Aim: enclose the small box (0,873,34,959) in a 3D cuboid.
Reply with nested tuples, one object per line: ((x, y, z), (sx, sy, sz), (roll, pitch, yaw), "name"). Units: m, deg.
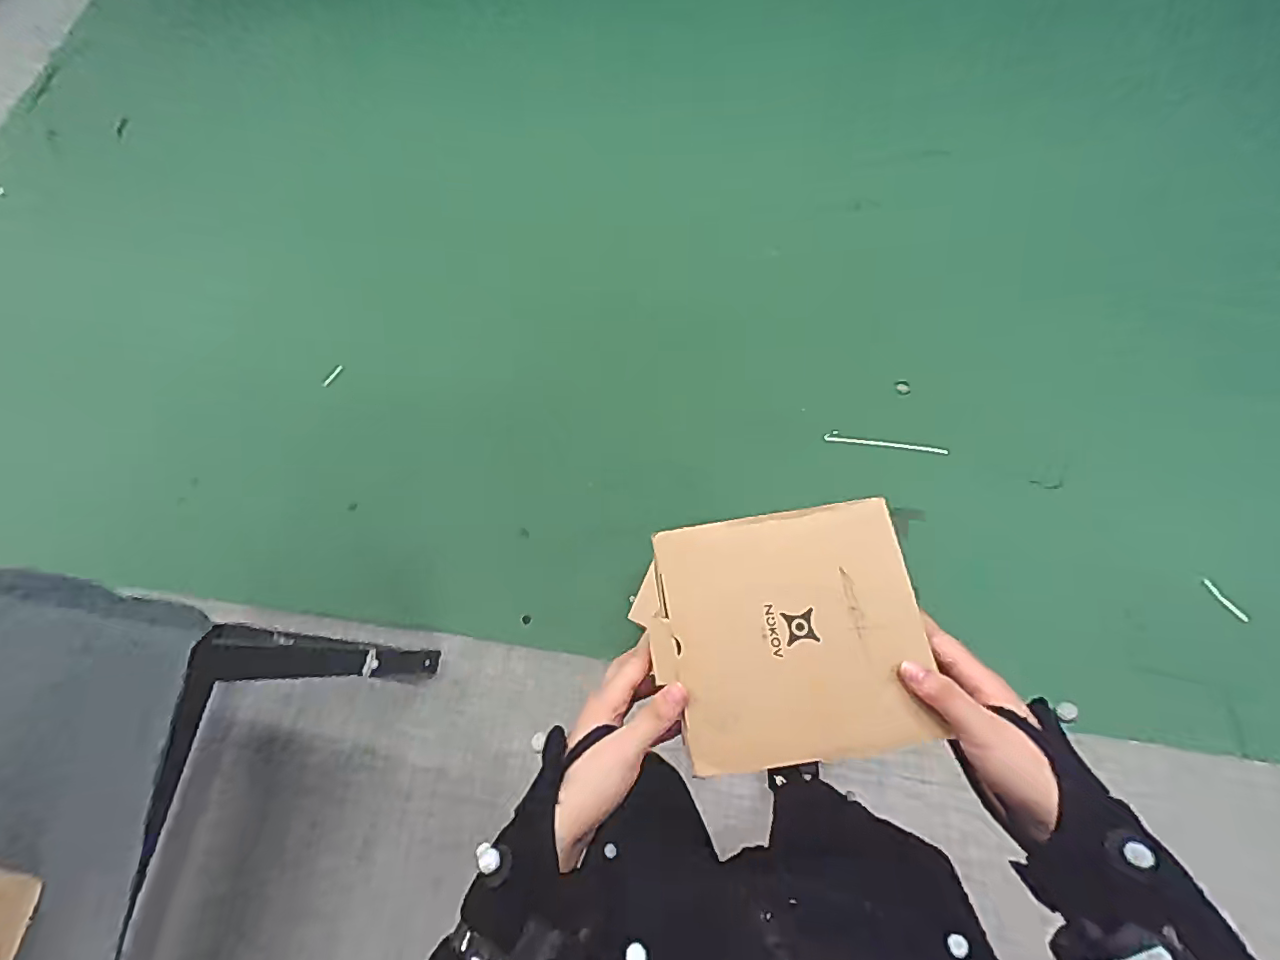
((-0.745, 0.477, 0.495), (0.179, 0.176, 0.168), (6, 72, 8), "small box")

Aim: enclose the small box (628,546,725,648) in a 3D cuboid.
((0.088, 0.279, 1.264), (0.168, 0.176, 0.179), (23, 75, 10), "small box")
